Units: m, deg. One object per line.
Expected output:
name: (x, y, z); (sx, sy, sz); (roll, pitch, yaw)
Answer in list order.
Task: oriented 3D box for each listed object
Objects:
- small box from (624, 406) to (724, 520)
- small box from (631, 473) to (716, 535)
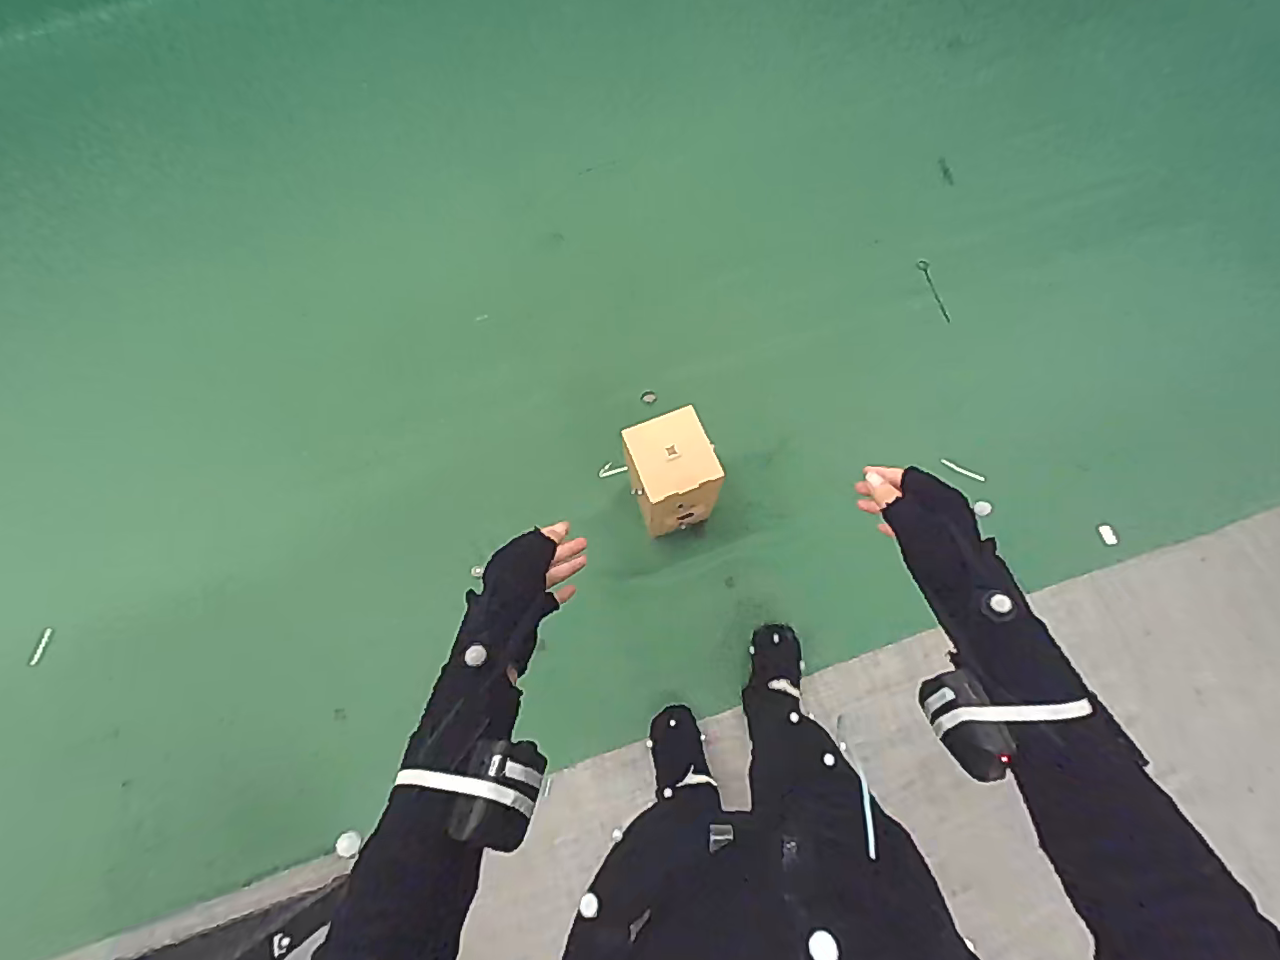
small box: (0.070, -0.033, 1.208); (0.168, 0.176, 0.179); (-21, 73, -6)
small box: (0.077, 0.019, 1.363); (0.168, 0.176, 0.179); (-20, 72, -4)
